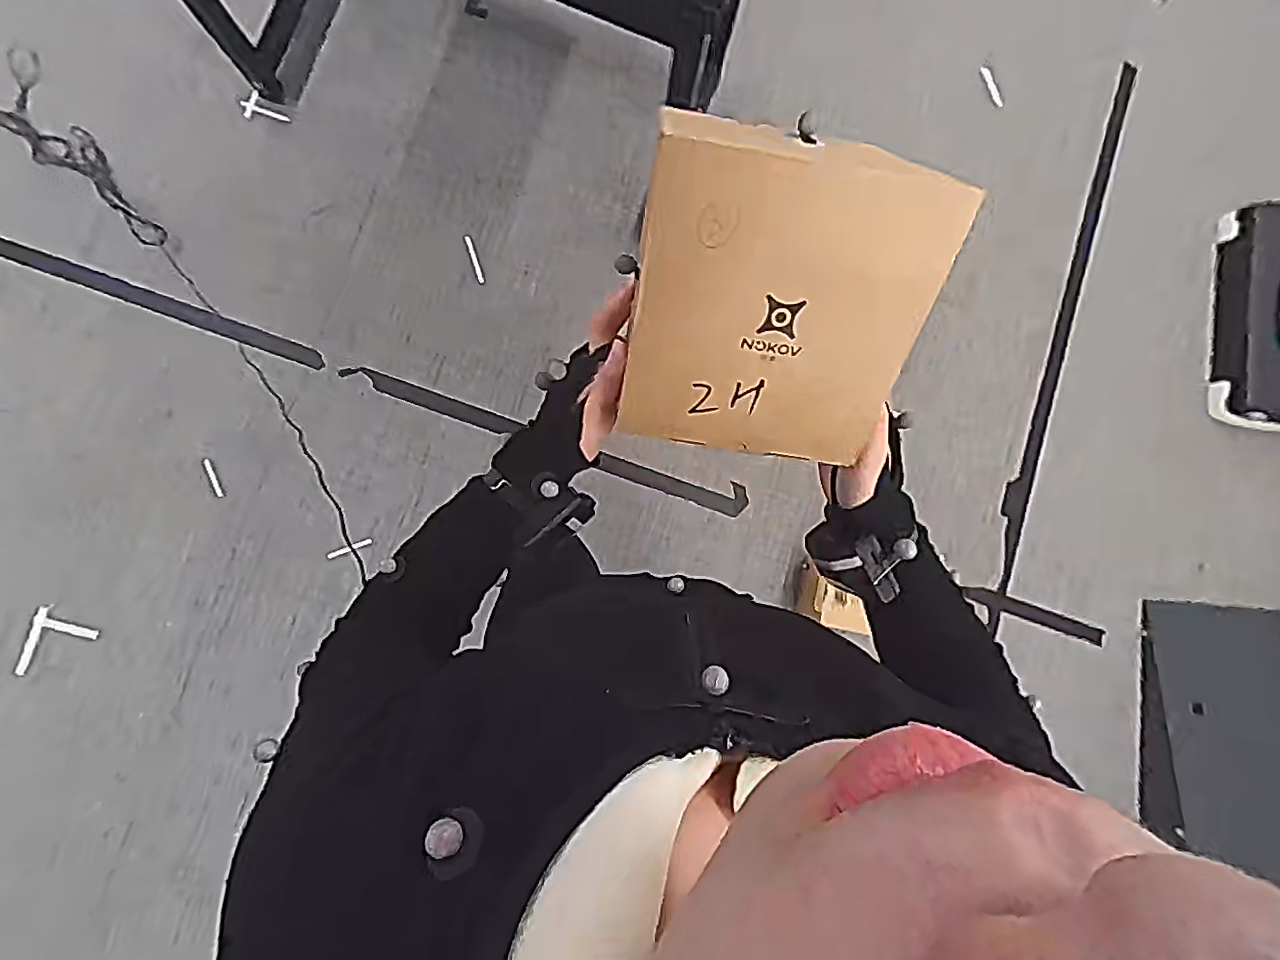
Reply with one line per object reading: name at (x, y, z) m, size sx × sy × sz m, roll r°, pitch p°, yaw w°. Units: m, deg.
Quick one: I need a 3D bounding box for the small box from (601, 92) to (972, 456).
small box at (0.067, -0.141, 0.363) m, size 0.168 × 0.176 × 0.179 m, roll 7°, pitch 129°, yaw -4°

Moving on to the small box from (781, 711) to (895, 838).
small box at (0.444, 0.668, 1.244) m, size 0.168 × 0.176 × 0.179 m, roll 21°, pitch 86°, yaw -4°

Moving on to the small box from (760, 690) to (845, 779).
small box at (0.428, 0.678, 1.407) m, size 0.168 × 0.176 × 0.179 m, roll 22°, pitch 84°, yaw -3°

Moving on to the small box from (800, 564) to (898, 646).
small box at (0.547, 0.324, 1.437) m, size 0.179 × 0.176 × 0.168 m, roll 14°, pitch 86°, yaw -4°
